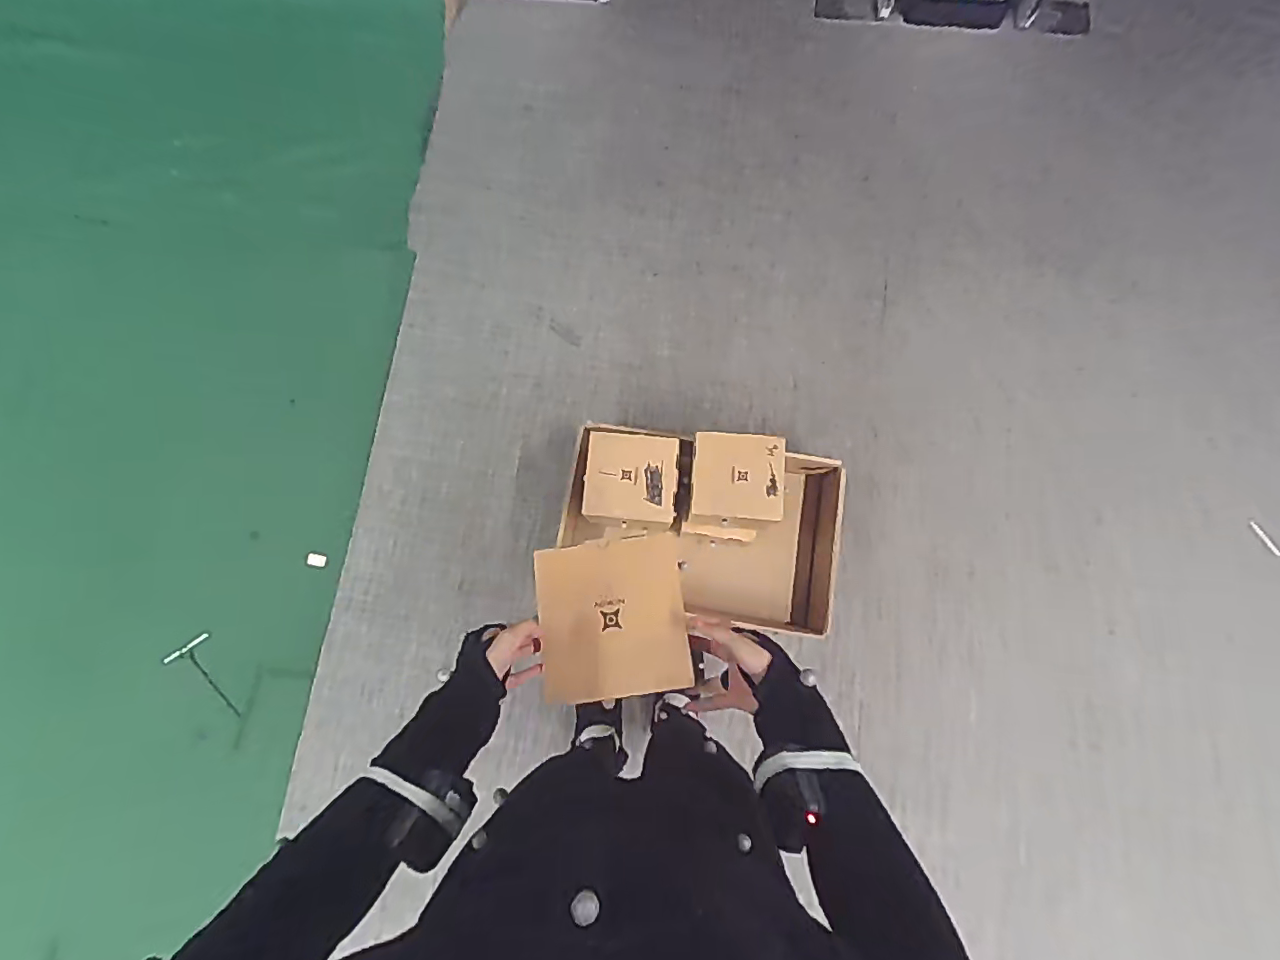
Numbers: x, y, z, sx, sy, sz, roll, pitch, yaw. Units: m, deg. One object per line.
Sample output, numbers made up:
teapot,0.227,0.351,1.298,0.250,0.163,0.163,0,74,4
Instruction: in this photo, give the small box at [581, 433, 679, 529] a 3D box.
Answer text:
small box,-0.016,0.009,1.109,0.179,0.176,0.168,5,80,3

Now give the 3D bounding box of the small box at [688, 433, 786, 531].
small box,0.191,0.010,1.100,0.179,0.176,0.168,4,79,5

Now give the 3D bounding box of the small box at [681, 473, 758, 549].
small box,0.189,0.058,1.259,0.168,0.176,0.179,9,80,6

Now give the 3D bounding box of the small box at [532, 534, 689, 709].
small box,-0.030,0.179,0.682,0.168,0.176,0.179,-9,70,2
